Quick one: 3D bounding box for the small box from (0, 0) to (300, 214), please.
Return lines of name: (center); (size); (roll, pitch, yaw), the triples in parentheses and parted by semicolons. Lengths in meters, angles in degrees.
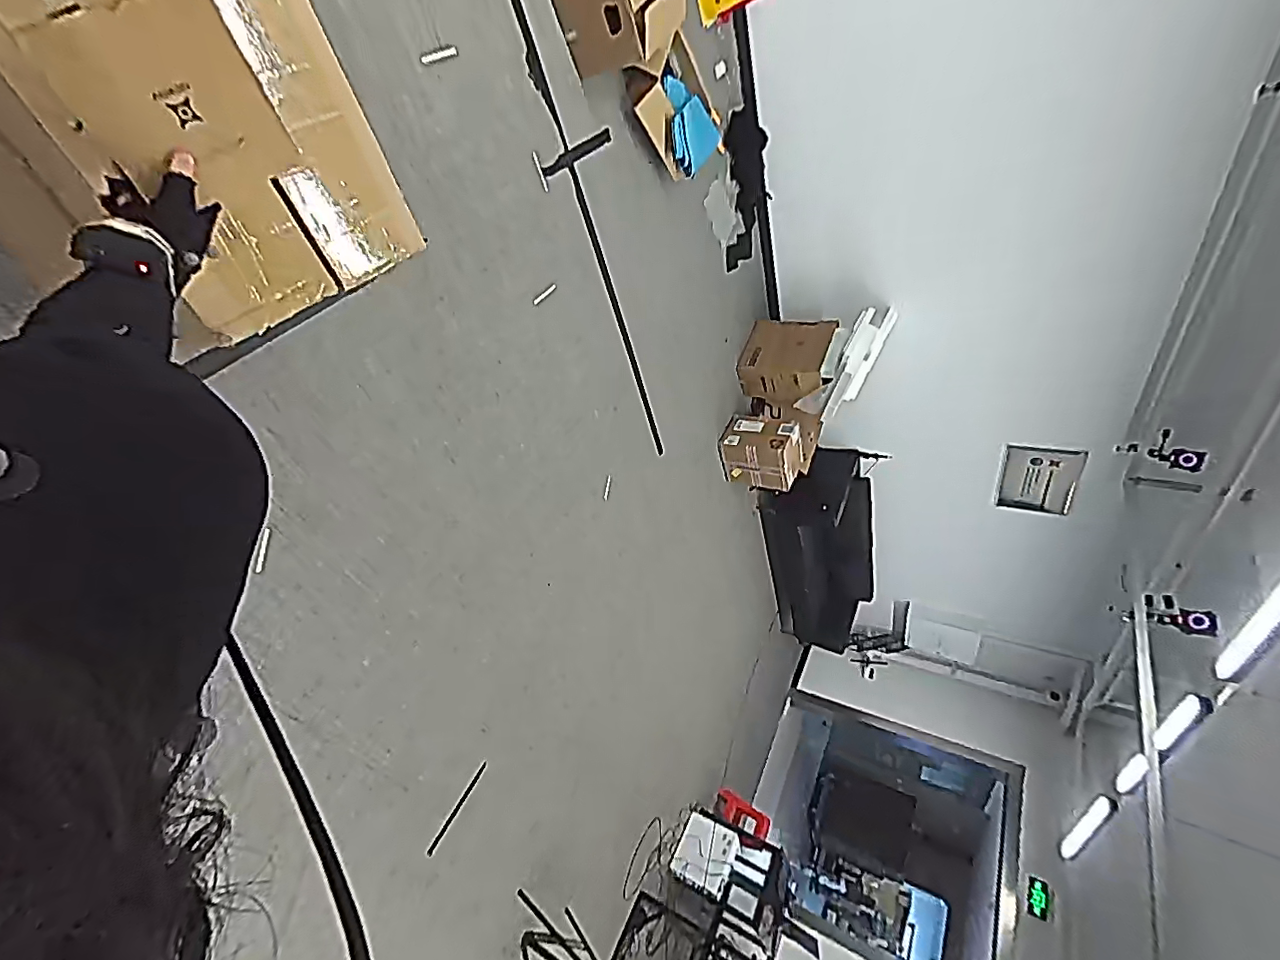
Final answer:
small box: (-0.520, -0.429, 0.575); (0.168, 0.176, 0.179); (-39, 155, -19)
